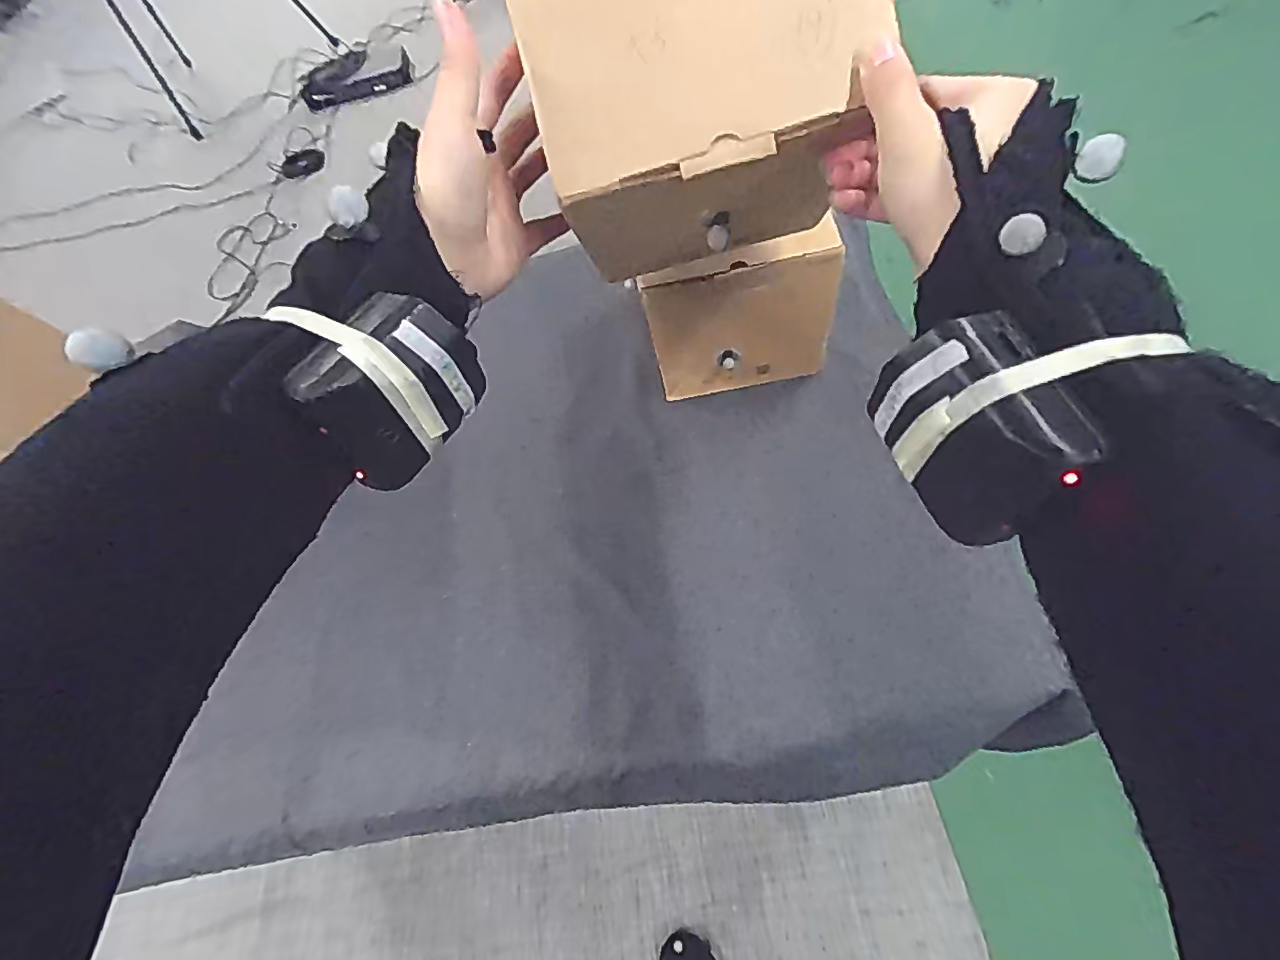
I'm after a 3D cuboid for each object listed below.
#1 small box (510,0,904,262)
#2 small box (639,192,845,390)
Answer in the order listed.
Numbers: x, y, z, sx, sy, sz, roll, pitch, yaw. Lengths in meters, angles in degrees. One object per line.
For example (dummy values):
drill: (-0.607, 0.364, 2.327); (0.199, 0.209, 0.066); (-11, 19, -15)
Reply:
small box: (0.028, -0.245, 0.319); (0.168, 0.176, 0.179); (-13, 96, 6)
small box: (0.085, -0.216, 0.537); (0.168, 0.176, 0.179); (-10, 66, 6)
